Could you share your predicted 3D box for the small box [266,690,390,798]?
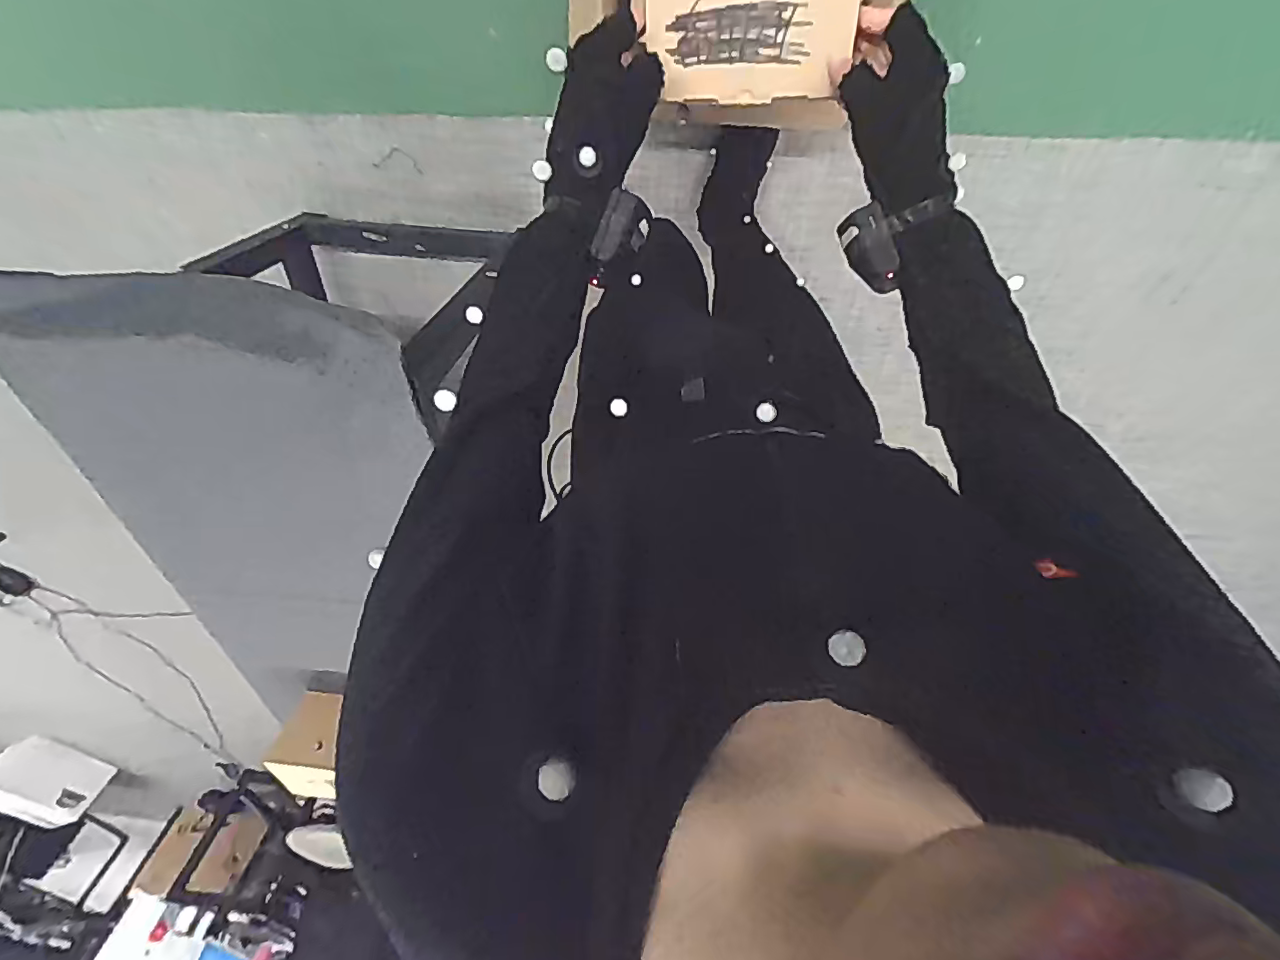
[{"bbox_3d":[-0.707,0.609,1.256,0.179,0.176,0.168,4,129,4],"label":"small box"}]
